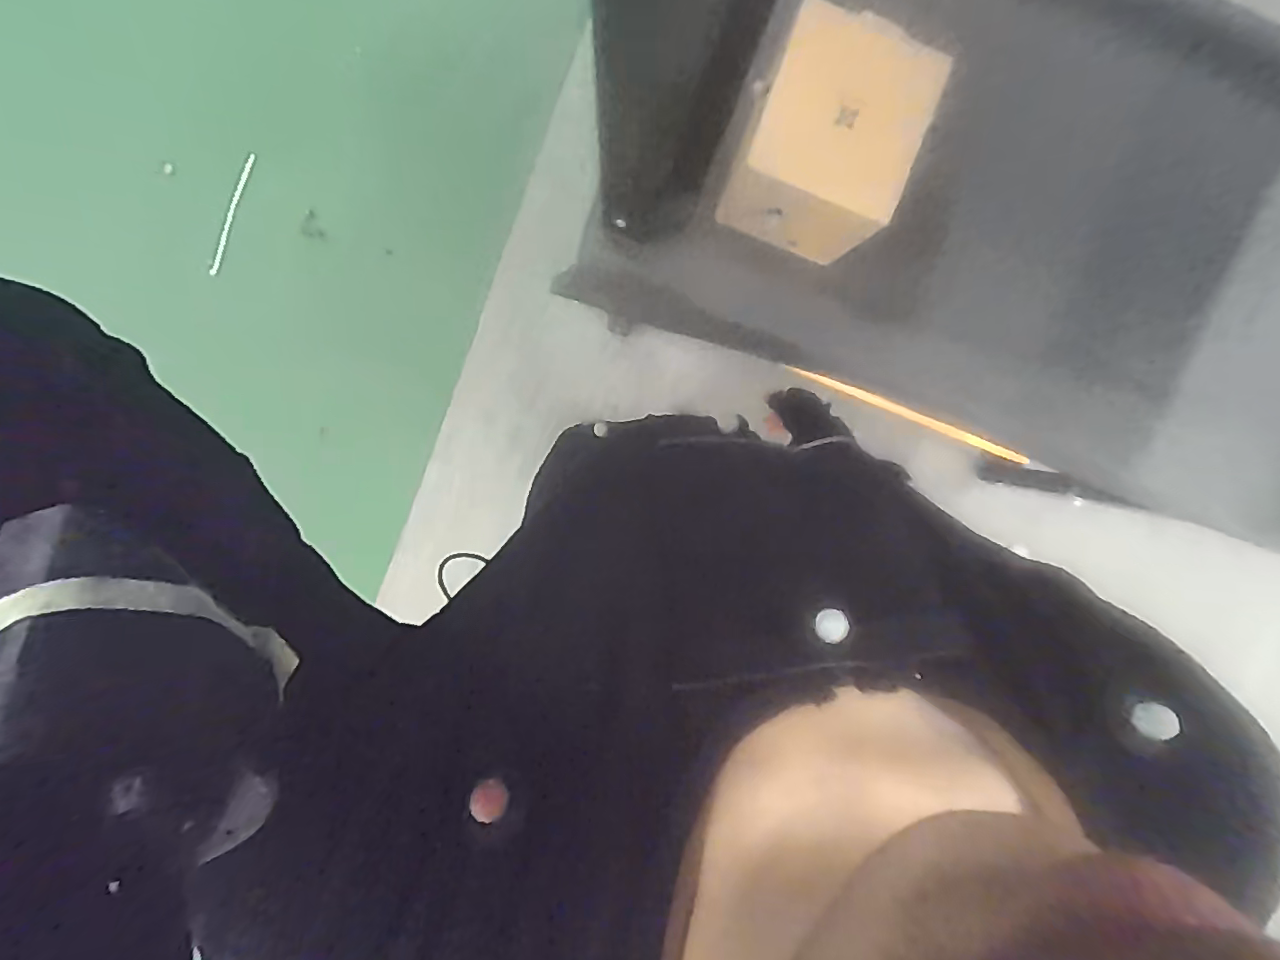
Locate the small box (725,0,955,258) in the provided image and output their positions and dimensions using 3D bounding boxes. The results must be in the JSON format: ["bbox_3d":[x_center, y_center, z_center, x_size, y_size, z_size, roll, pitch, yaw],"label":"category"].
[{"bbox_3d":[0.209,-0.383,0.623,0.168,0.176,0.179,20,95,-5],"label":"small box"}]
